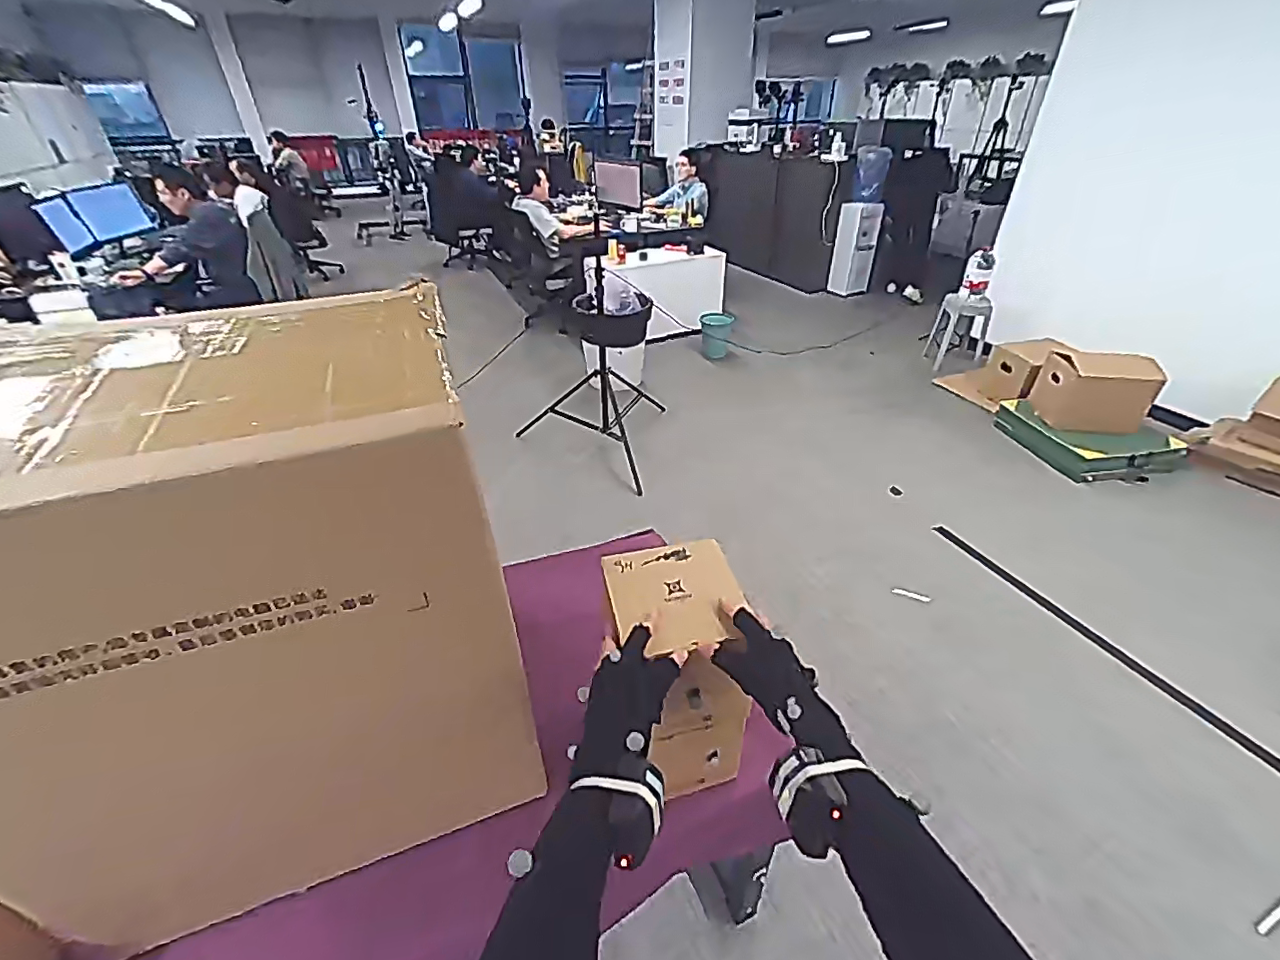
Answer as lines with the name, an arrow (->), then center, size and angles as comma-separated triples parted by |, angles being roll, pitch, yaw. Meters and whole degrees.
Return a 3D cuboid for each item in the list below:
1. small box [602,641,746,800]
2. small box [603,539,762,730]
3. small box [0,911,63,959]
small box -> 0.045, 0.345, 0.809 | 0.168, 0.176, 0.179 | -10, 34, -13
small box -> 0.049, 0.208, 0.721 | 0.168, 0.176, 0.179 | -8, 35, -10
small box -> -0.727, 0.552, 0.518 | 0.179, 0.176, 0.168 | -17, 36, -24
